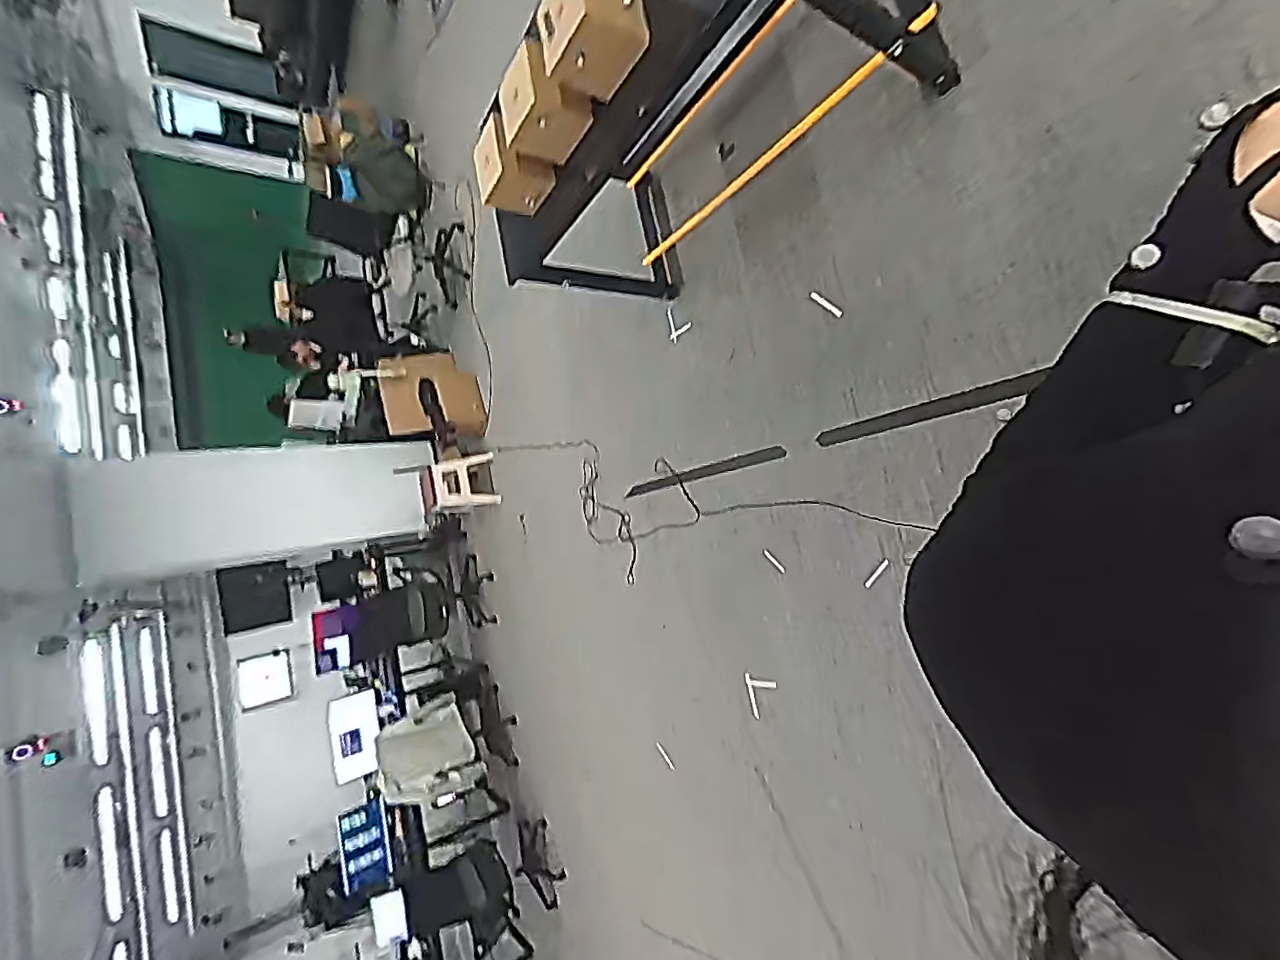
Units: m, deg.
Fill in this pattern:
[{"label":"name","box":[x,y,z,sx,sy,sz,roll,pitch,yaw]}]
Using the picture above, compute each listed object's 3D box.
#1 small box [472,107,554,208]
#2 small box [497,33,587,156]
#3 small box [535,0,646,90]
[{"label":"small box","box":[-0.367,-0.921,1.565,0.168,0.176,0.179,-20,81,55]},{"label":"small box","box":[-0.247,-0.976,1.388,0.179,0.176,0.168,-17,82,54]},{"label":"small box","box":[-0.109,-1.015,1.194,0.179,0.176,0.168,-17,82,53]}]
